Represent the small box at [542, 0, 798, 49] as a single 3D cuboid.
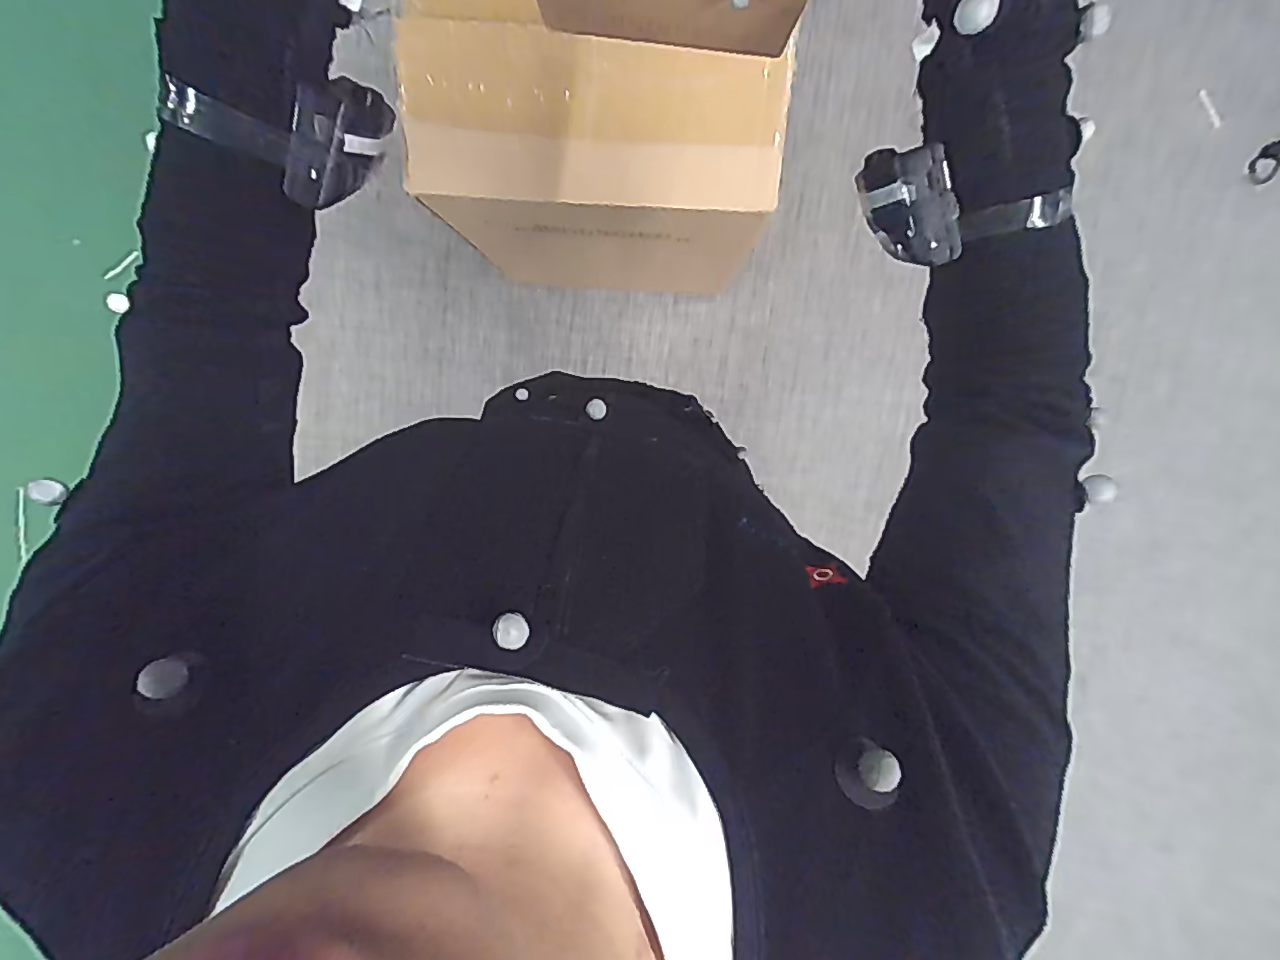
[{"bbox_3d":[0.024,-0.378,0.300,0.179,0.176,0.168,5,103,1],"label":"small box"}]
